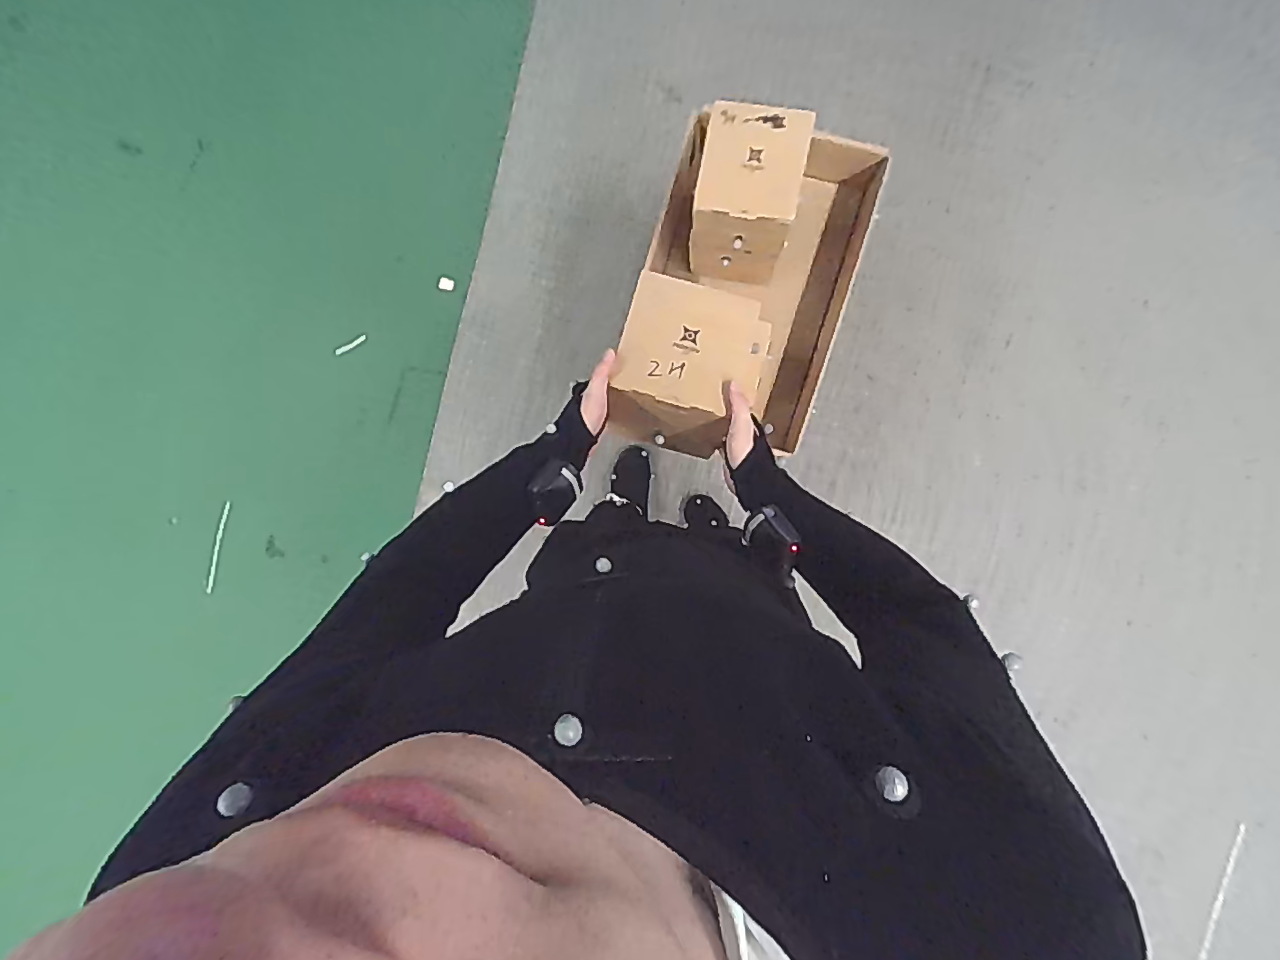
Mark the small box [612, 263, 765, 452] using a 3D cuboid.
[{"bbox_3d":[0.058,-0.160,0.753,0.168,0.176,0.179,15,75,0],"label":"small box"}]

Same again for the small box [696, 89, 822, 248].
[{"bbox_3d":[0.196,-0.518,0.924,0.168,0.176,0.179,12,95,6],"label":"small box"}]
